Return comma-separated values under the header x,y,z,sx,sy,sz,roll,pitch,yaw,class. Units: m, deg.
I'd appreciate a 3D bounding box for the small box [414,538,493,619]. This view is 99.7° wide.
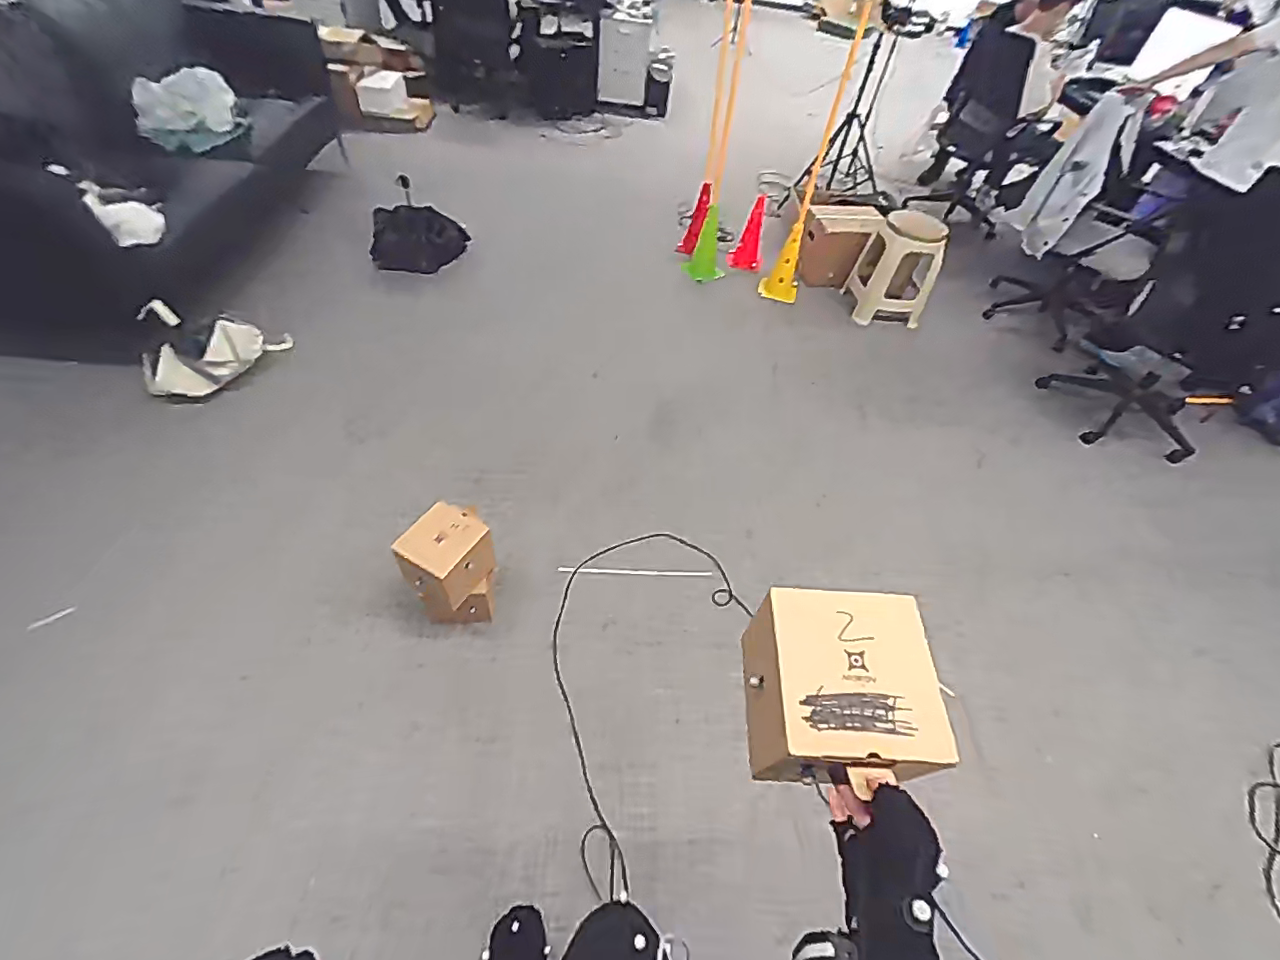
x,y,z,sx,sy,sz,roll,pitch,yaw,class
-0.510,0.276,1.509,0.179,0.176,0.168,-1,50,-8,small box

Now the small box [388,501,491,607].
x,y,z,sx,sy,sz,roll,pitch,yaw,class
-0.502,0.193,1.386,0.168,0.176,0.179,26,51,14,small box
